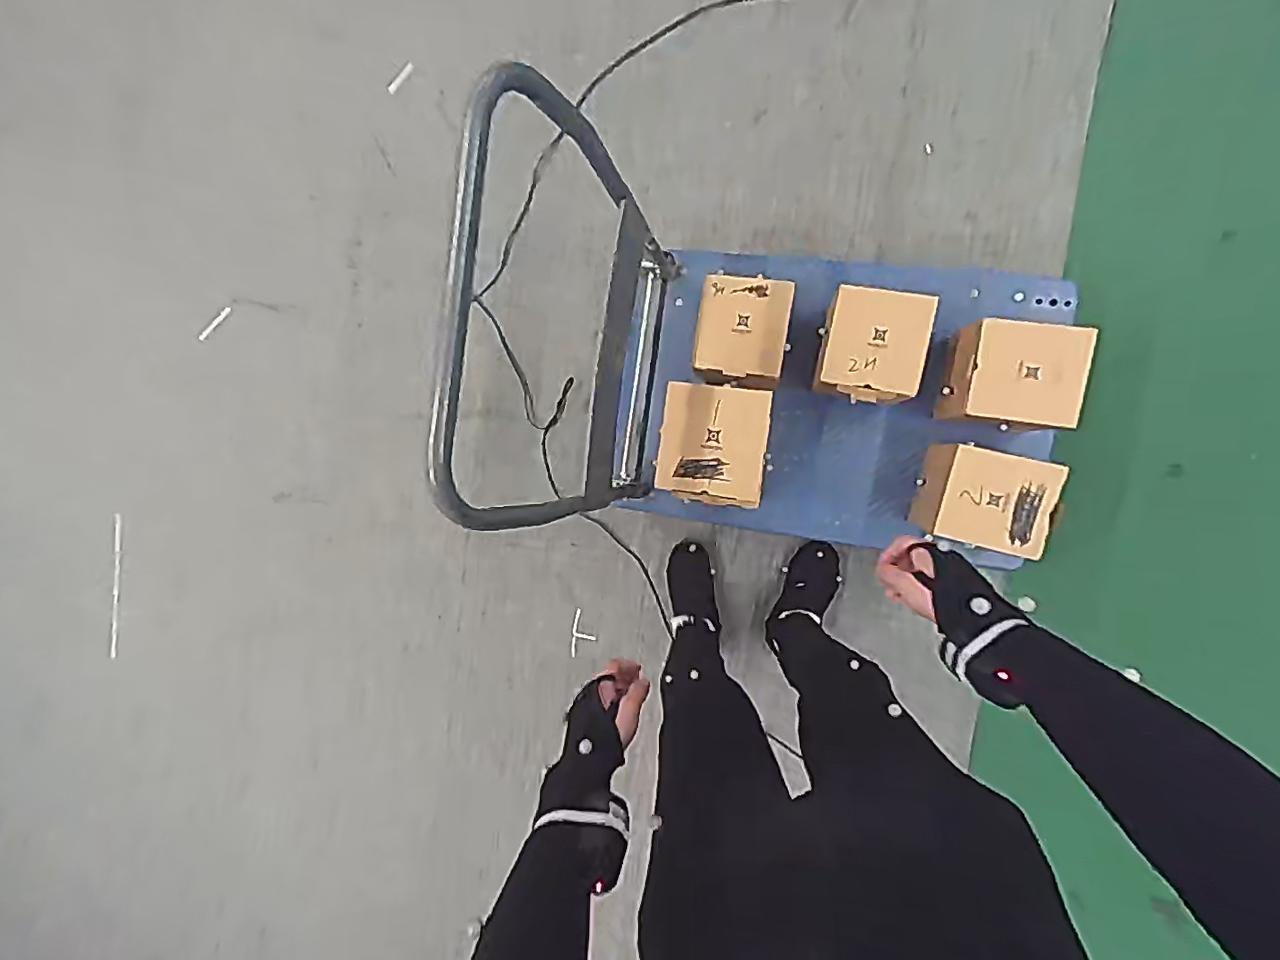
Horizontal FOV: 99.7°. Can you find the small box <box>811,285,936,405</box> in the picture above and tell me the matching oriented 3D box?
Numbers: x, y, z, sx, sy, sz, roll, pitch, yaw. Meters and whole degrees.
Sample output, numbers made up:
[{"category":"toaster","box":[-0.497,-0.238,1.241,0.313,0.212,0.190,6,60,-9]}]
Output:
[{"category":"small box","box":[0.431,-0.248,1.028,0.168,0.176,0.179,13,95,11]}]

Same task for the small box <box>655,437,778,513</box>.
[{"category":"small box","box":[0.159,-0.053,1.099,0.179,0.176,0.168,40,101,8]}]

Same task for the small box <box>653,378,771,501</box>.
[{"category":"small box","box":[0.127,-0.068,0.929,0.168,0.176,0.179,9,94,10]}]
